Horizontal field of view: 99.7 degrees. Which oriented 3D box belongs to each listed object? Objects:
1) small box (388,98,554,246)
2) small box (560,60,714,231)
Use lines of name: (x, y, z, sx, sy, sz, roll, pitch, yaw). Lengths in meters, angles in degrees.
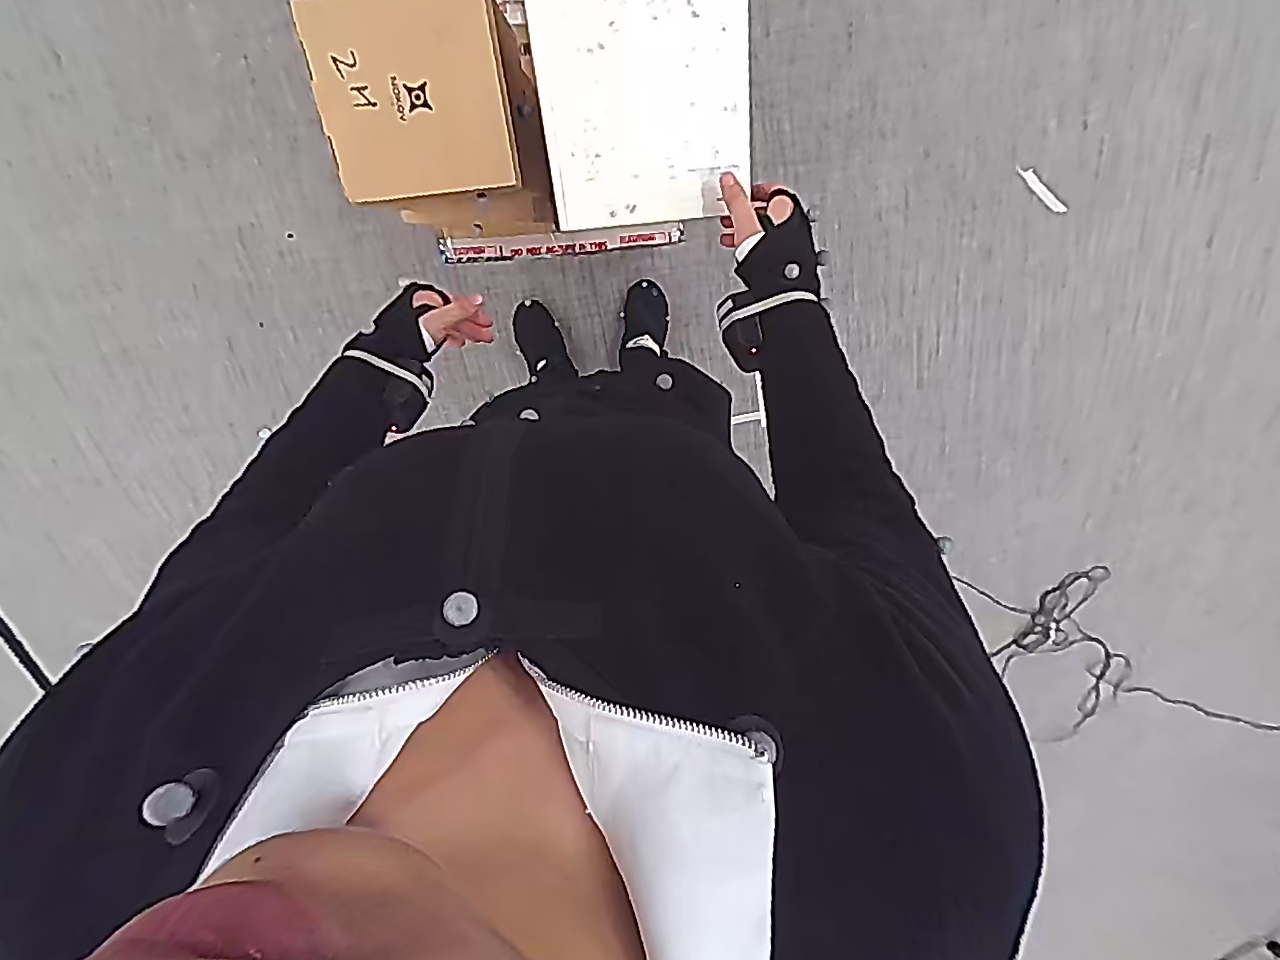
small box: (-0.219, -0.423, 0.760, 0.179, 0.176, 0.168, -1, 115, 1)
small box: (-0.004, -0.452, 0.754, 0.179, 0.176, 0.168, -10, 114, 2)
